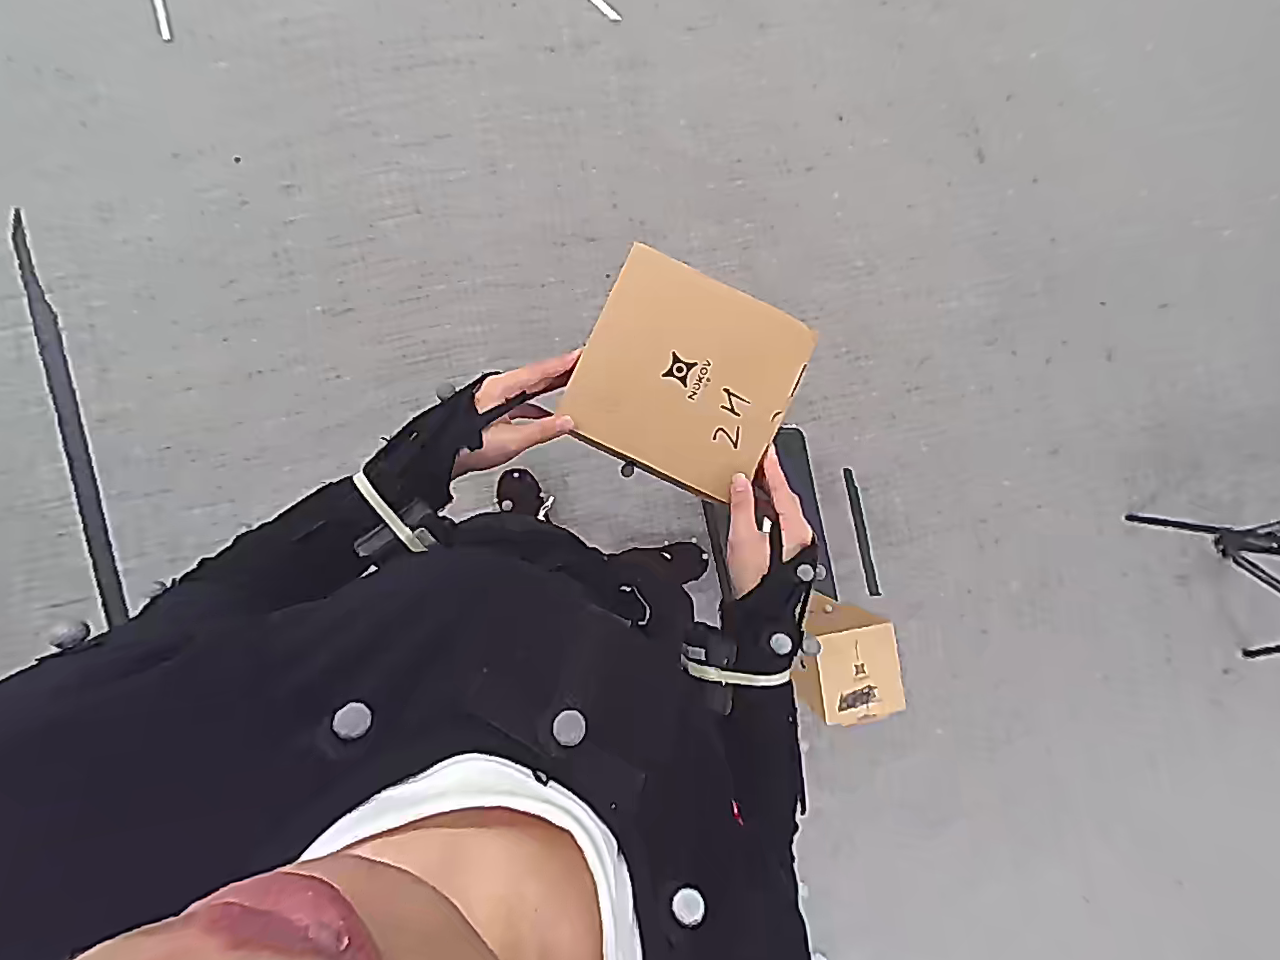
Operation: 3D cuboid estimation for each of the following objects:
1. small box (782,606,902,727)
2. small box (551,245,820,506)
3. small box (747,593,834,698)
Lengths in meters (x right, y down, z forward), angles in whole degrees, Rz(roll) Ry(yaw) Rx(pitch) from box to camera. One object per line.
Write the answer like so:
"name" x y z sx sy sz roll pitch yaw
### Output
"small box" 0.409 0.375 1.116 0.168 0.176 0.179 -9 91 -7
"small box" 0.034 -0.085 0.524 0.179 0.176 0.168 25 89 -3
"small box" 0.375 0.380 1.277 0.179 0.176 0.168 -14 93 -6
